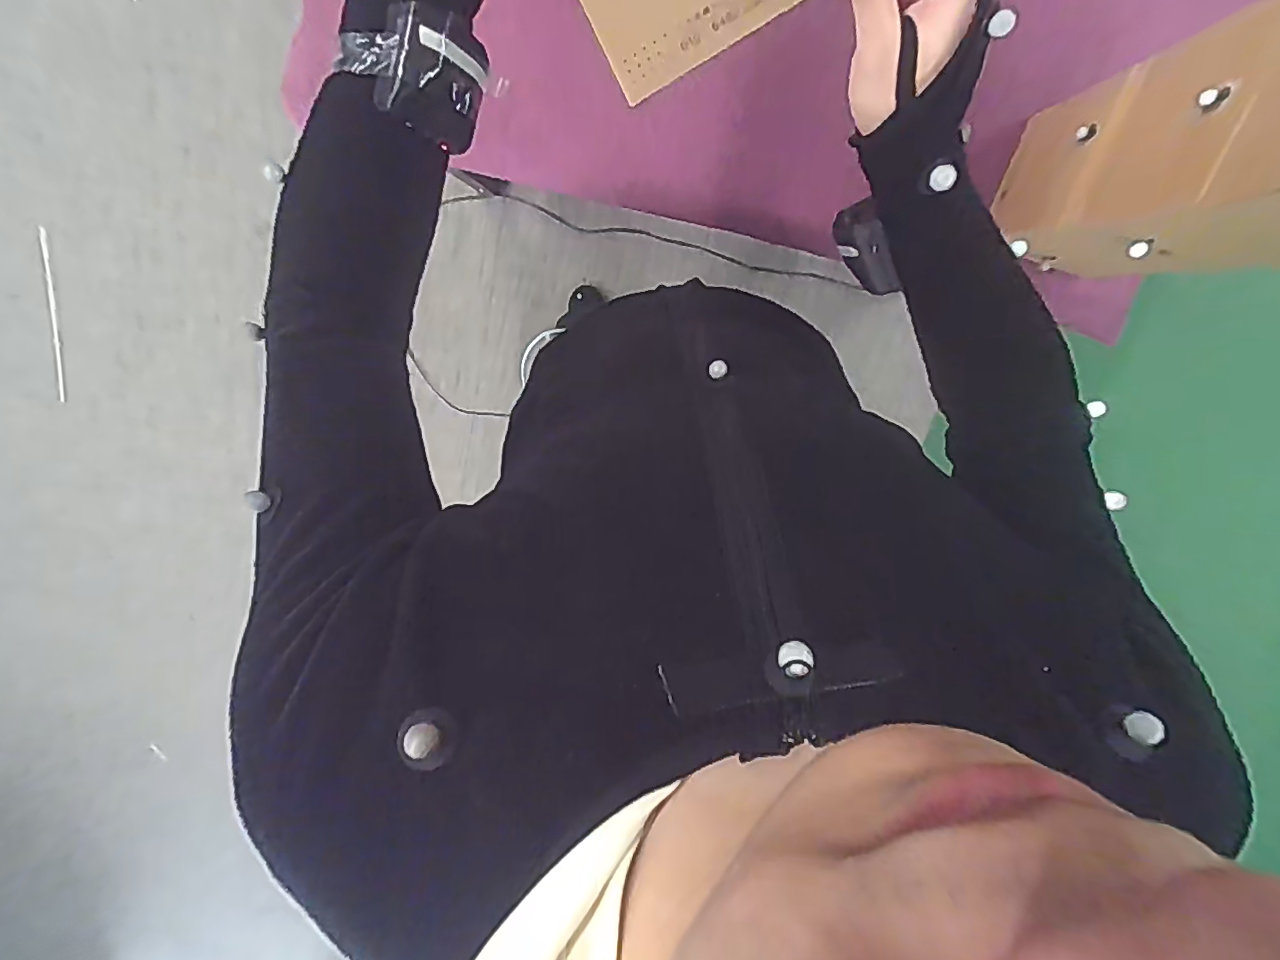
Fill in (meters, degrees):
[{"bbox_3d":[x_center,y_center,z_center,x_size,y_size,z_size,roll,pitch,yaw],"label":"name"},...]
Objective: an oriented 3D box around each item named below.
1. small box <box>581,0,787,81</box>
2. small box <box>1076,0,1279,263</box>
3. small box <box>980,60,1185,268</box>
[{"bbox_3d":[0.015,-0.364,0.276,0.168,0.176,0.179,-21,66,18],"label":"small box"},{"bbox_3d":[0.587,-0.328,0.525,0.168,0.176,0.179,16,107,-3],"label":"small box"},{"bbox_3d":[0.585,-0.375,0.681,0.179,0.176,0.168,16,107,-5],"label":"small box"}]
